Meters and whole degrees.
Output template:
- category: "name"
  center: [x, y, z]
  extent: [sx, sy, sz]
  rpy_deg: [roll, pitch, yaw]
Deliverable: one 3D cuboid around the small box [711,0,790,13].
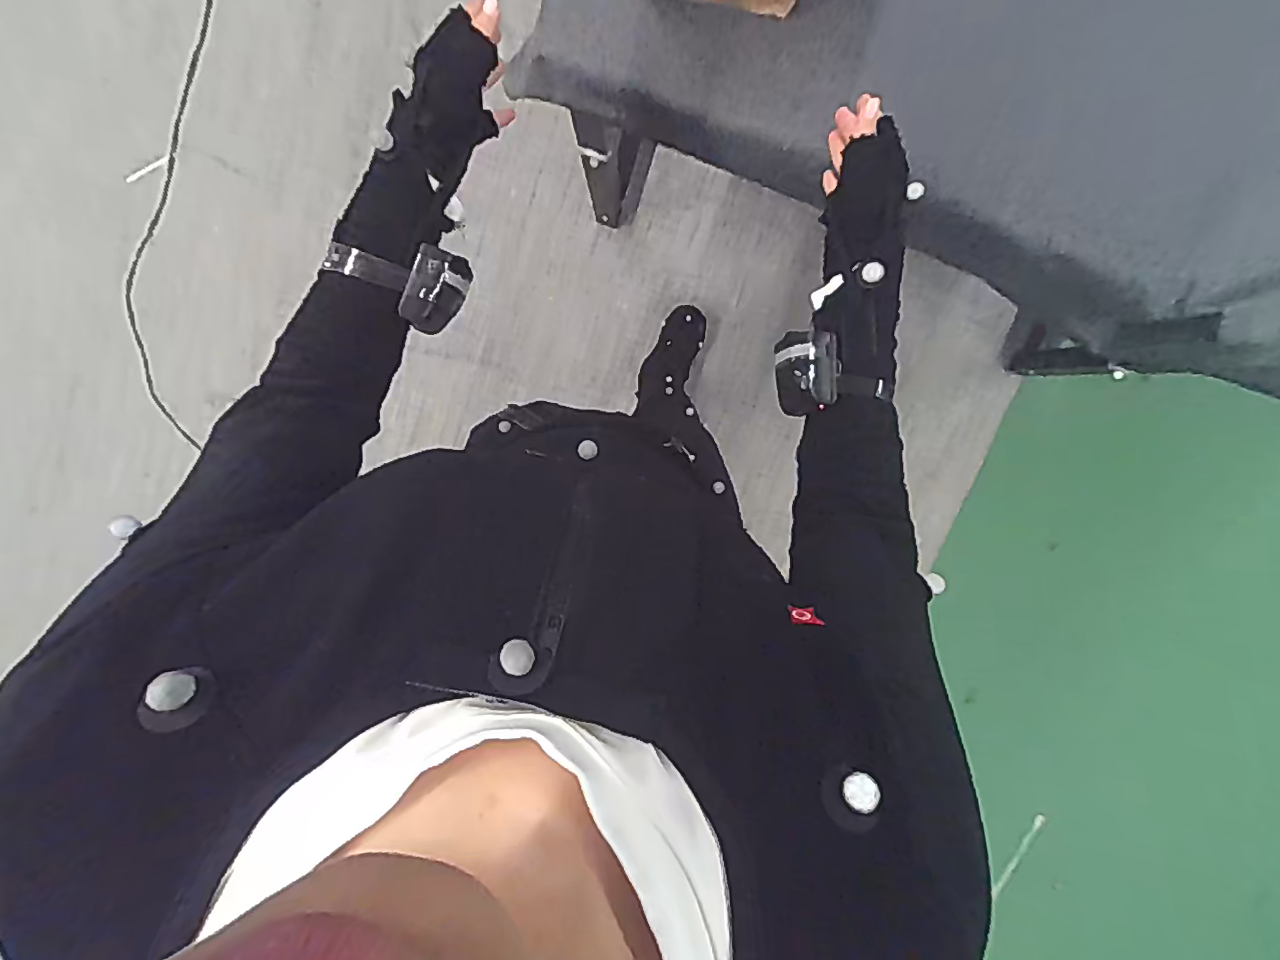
- category: "small box"
  center: [0.099, -0.609, 0.527]
  extent: [0.179, 0.176, 0.168]
  rpy_deg: [8, 101, -4]
